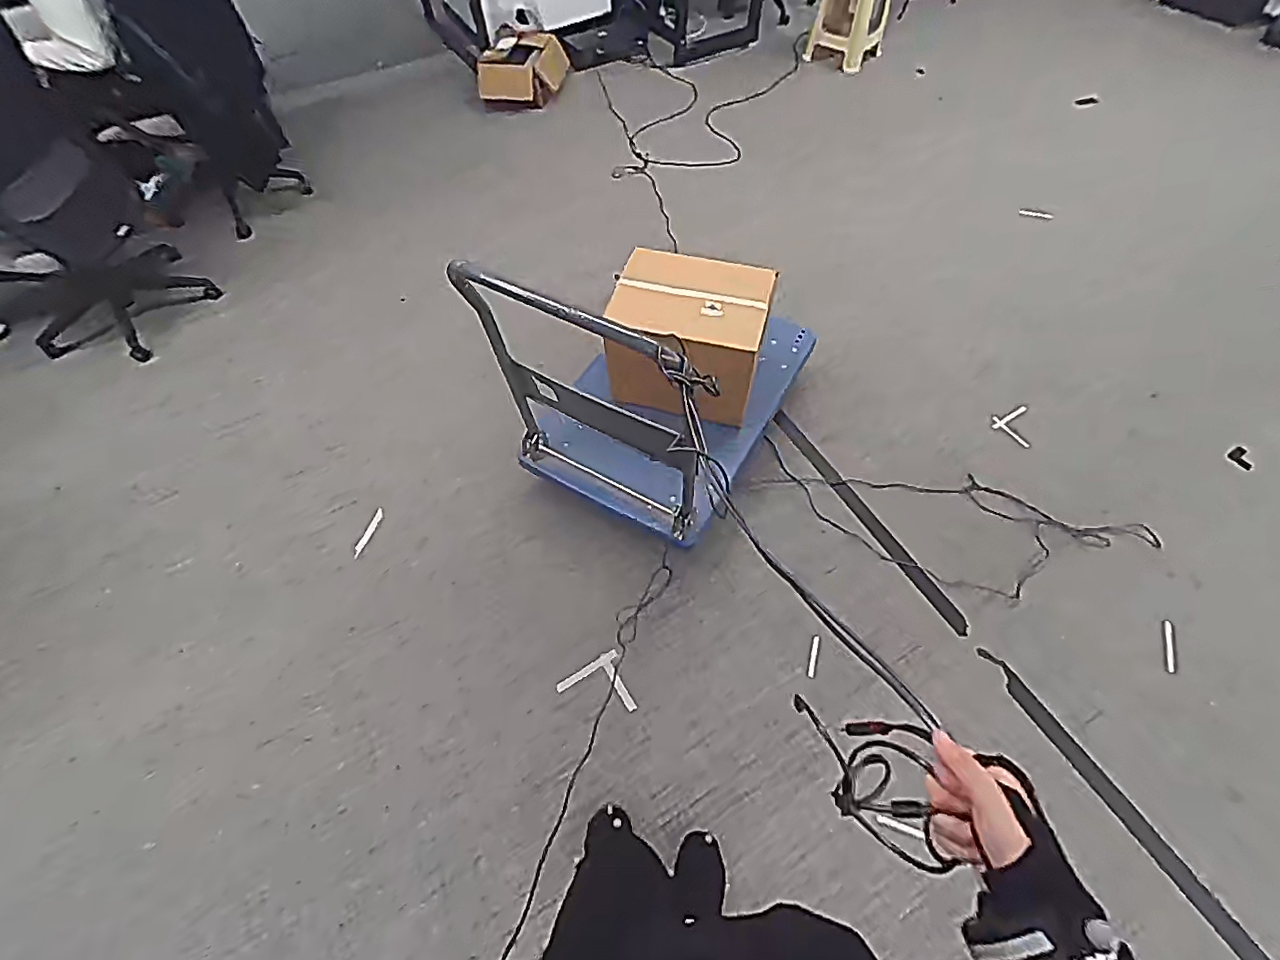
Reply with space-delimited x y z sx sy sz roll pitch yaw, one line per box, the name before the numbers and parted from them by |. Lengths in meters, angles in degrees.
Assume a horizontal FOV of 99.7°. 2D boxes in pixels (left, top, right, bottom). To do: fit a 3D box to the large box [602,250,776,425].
large box | 0.134 -0.397 1.529 0.408 0.320 0.320 14 61 9
